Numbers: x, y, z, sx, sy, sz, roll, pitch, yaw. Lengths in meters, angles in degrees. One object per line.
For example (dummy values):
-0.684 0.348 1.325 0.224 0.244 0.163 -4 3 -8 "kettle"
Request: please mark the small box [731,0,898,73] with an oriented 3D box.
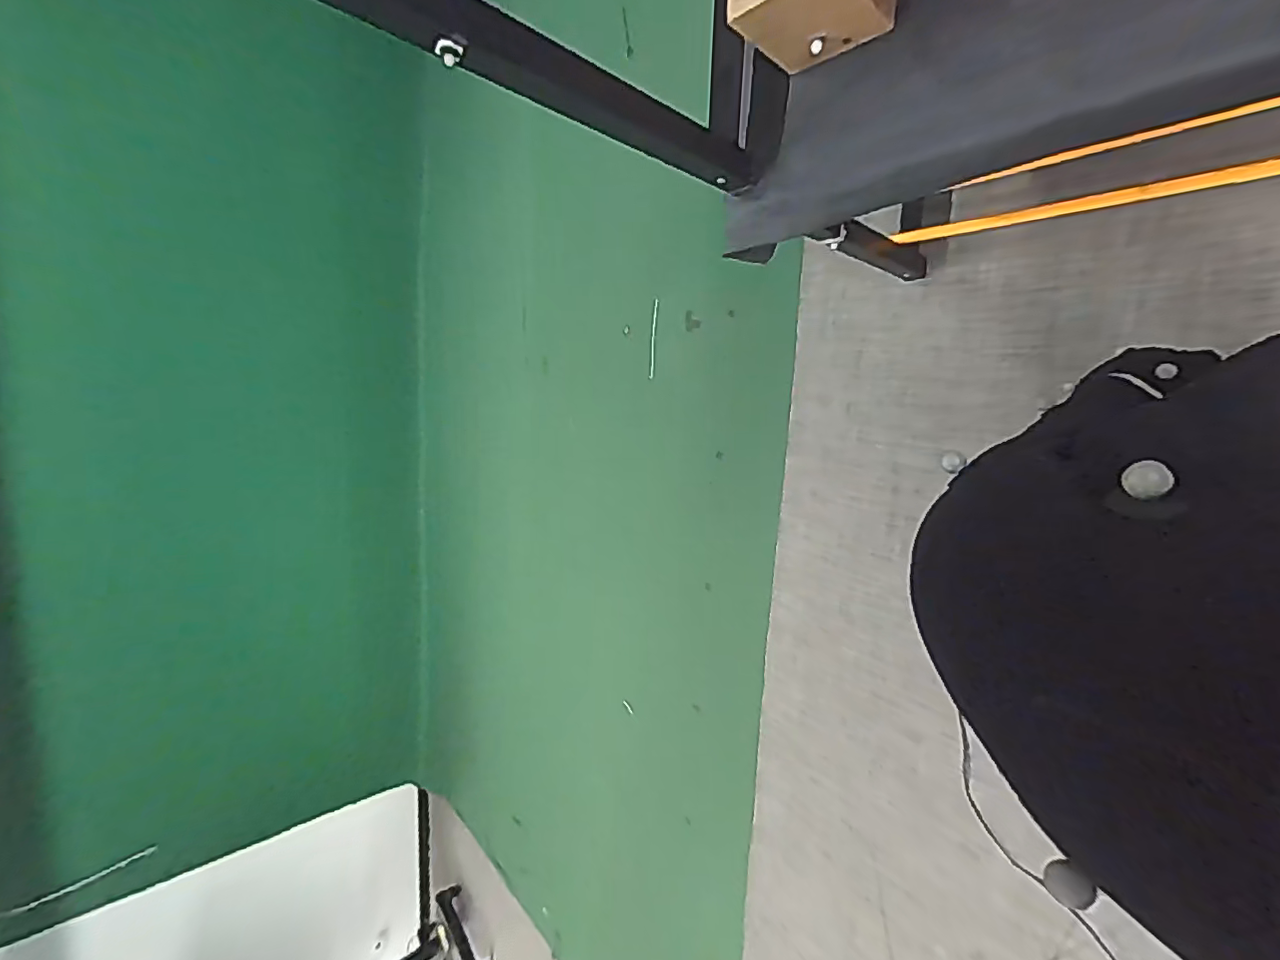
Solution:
0.247 -0.717 0.743 0.168 0.176 0.179 12 103 47 "small box"
